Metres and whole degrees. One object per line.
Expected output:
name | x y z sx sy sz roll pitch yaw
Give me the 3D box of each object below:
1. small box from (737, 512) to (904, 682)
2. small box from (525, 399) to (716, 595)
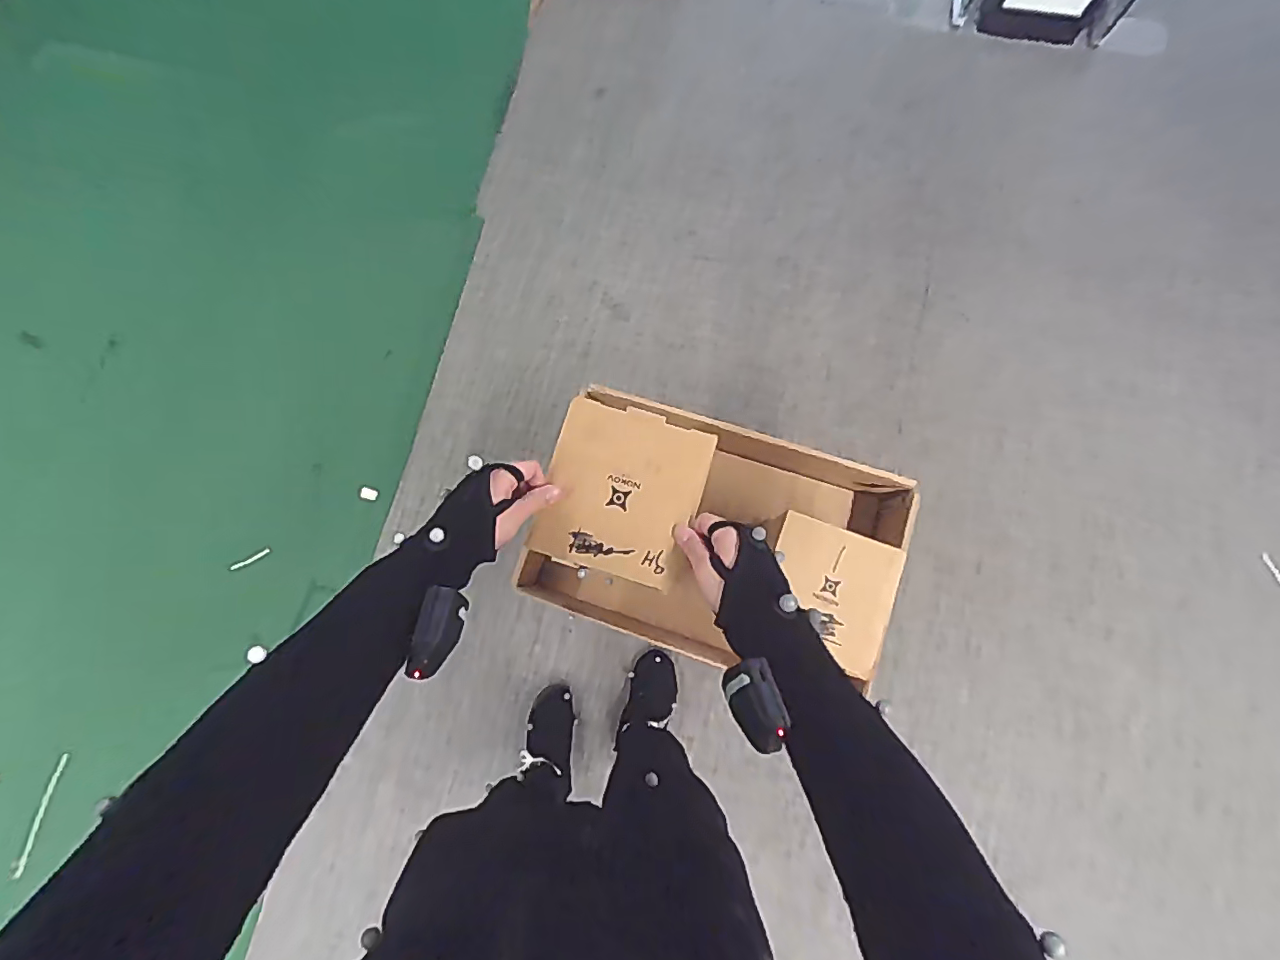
small box | 0.246 0.165 0.784 0.168 0.176 0.179 21 81 7
small box | -0.018 0.029 0.653 0.168 0.176 0.179 17 80 5
